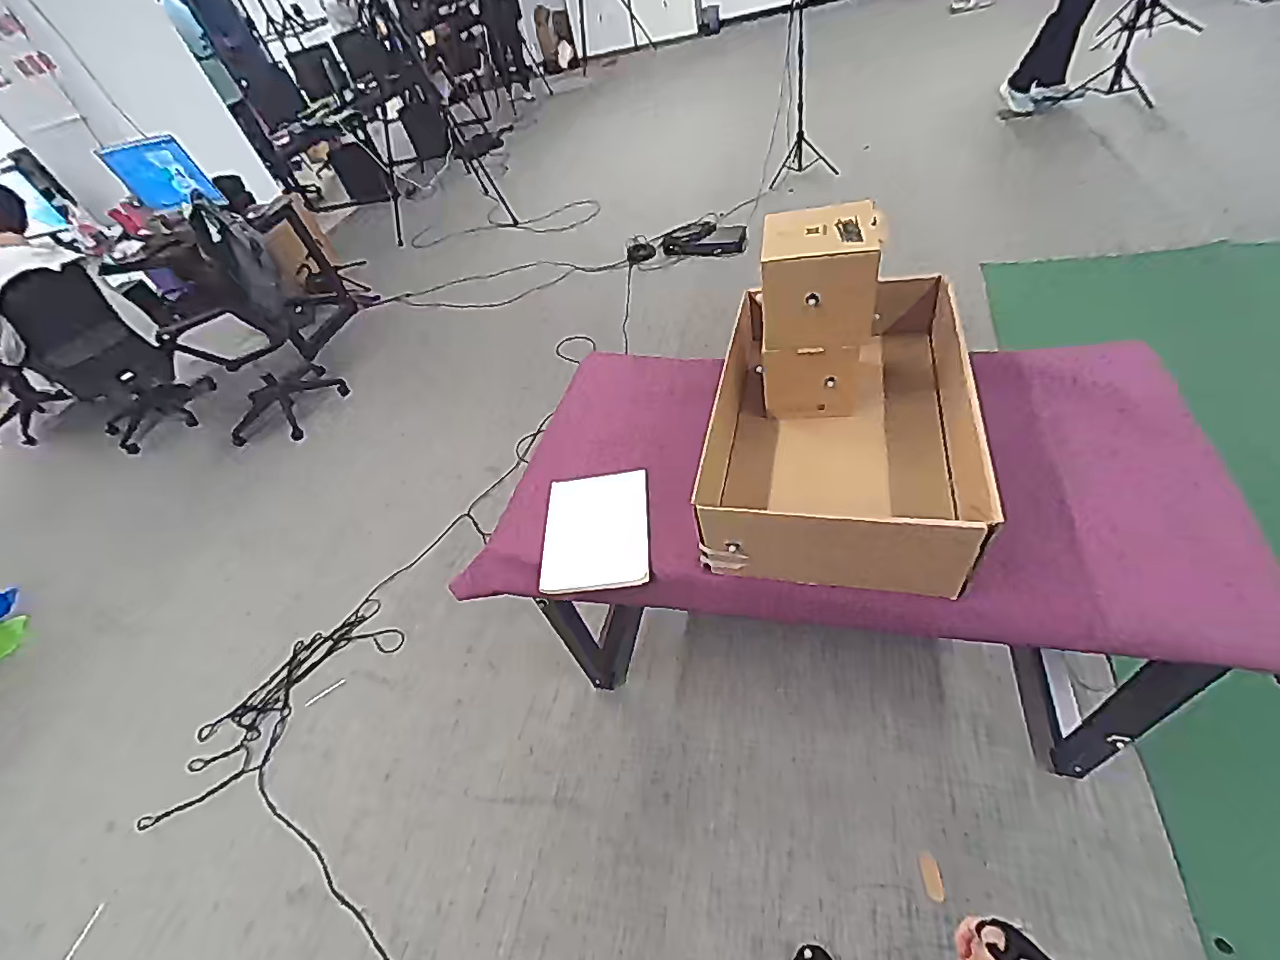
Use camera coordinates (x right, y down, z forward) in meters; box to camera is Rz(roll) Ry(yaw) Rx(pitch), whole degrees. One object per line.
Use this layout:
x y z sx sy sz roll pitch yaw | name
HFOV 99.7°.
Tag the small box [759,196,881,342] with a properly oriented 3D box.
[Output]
0.299 -0.352 0.919 0.179 0.176 0.168 1 50 17 | small box
